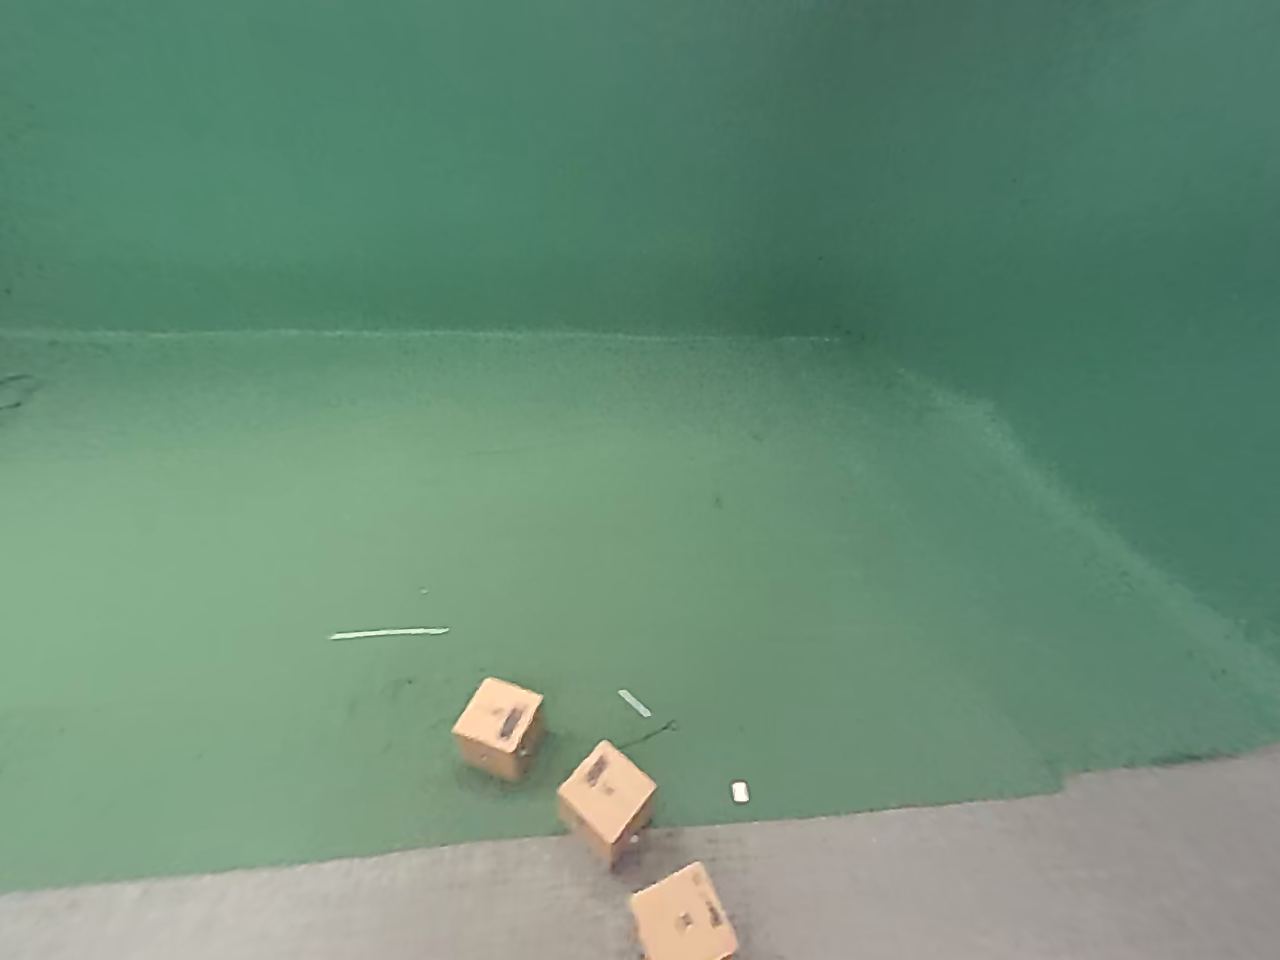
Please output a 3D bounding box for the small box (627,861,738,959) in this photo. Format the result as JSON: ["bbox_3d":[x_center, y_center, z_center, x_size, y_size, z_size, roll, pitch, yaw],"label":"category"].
[{"bbox_3d":[0.083,0.958,1.138,0.179,0.176,0.168,-13,40,-20],"label":"small box"}]

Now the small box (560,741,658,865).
[{"bbox_3d":[-0.079,0.799,1.334,0.179,0.176,0.168,29,44,29],"label":"small box"}]
